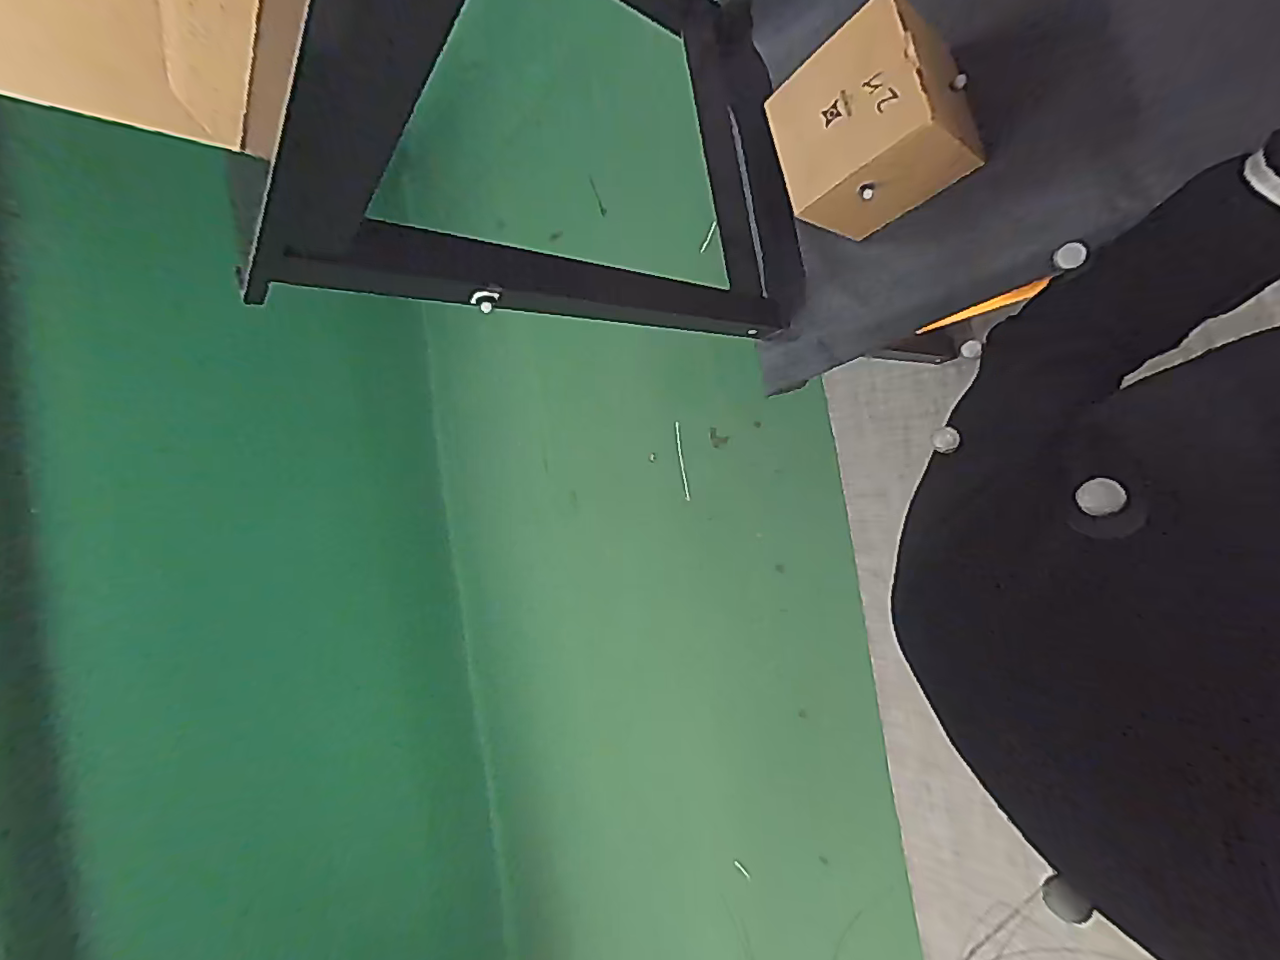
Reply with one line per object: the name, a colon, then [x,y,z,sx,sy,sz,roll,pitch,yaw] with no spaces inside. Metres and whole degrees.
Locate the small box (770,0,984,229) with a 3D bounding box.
small box: [0.302,-0.453,0.695,0.179,0.176,0.168,-20,81,49]
